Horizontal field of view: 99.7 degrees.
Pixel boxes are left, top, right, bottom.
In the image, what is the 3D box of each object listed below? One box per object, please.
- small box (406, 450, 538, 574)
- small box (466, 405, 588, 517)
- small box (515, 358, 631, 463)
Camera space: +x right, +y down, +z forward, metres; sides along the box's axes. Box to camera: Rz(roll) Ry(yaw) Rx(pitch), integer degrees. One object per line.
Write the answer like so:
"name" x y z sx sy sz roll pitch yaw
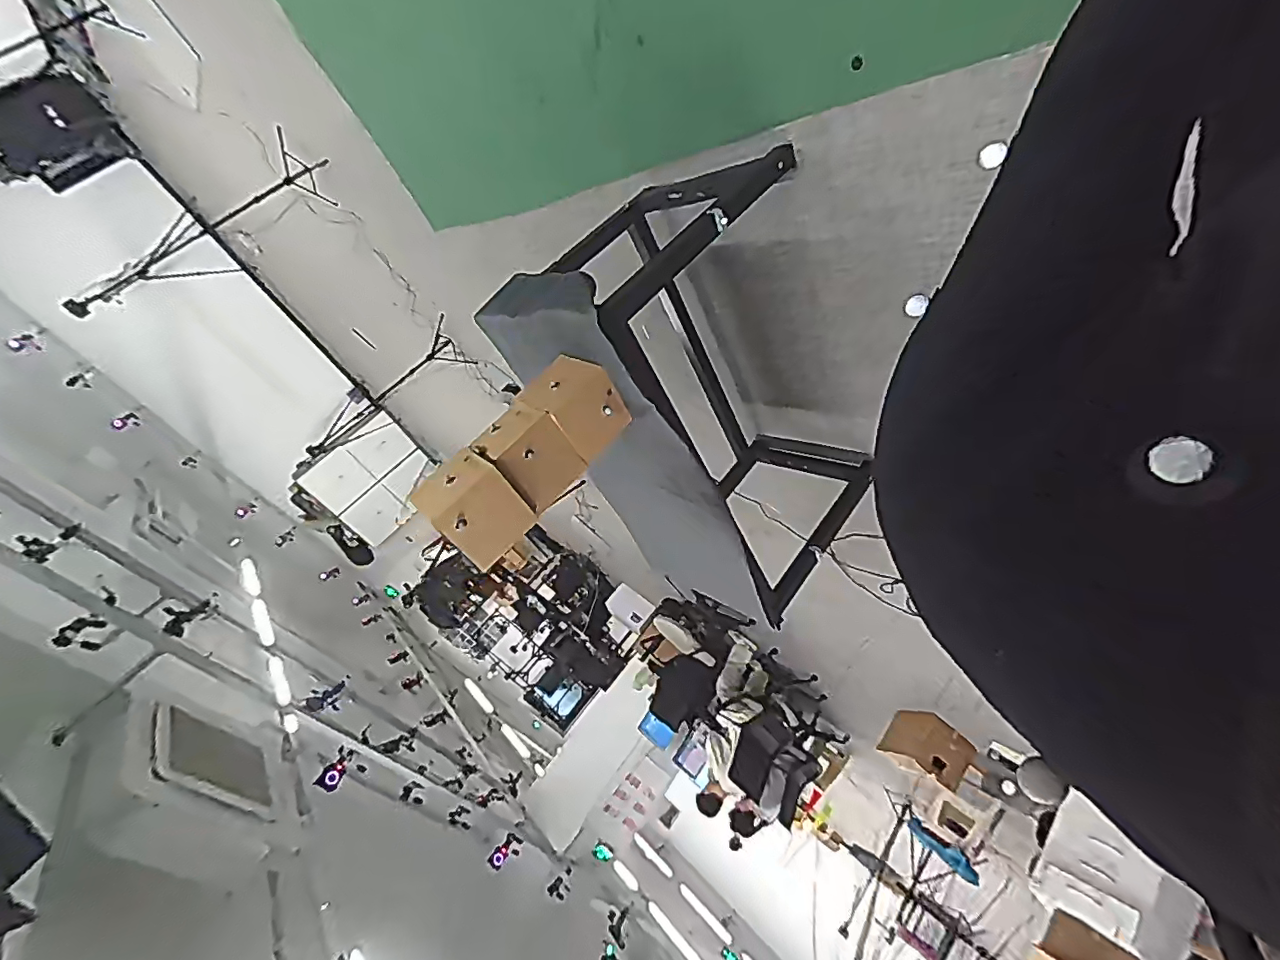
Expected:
"small box" -0.356 0.061 1.161 0.168 0.176 0.179 26 155 47
"small box" -0.255 -0.049 1.235 0.168 0.176 0.179 22 154 51
"small box" -0.154 -0.169 1.279 0.179 0.176 0.168 25 155 43
